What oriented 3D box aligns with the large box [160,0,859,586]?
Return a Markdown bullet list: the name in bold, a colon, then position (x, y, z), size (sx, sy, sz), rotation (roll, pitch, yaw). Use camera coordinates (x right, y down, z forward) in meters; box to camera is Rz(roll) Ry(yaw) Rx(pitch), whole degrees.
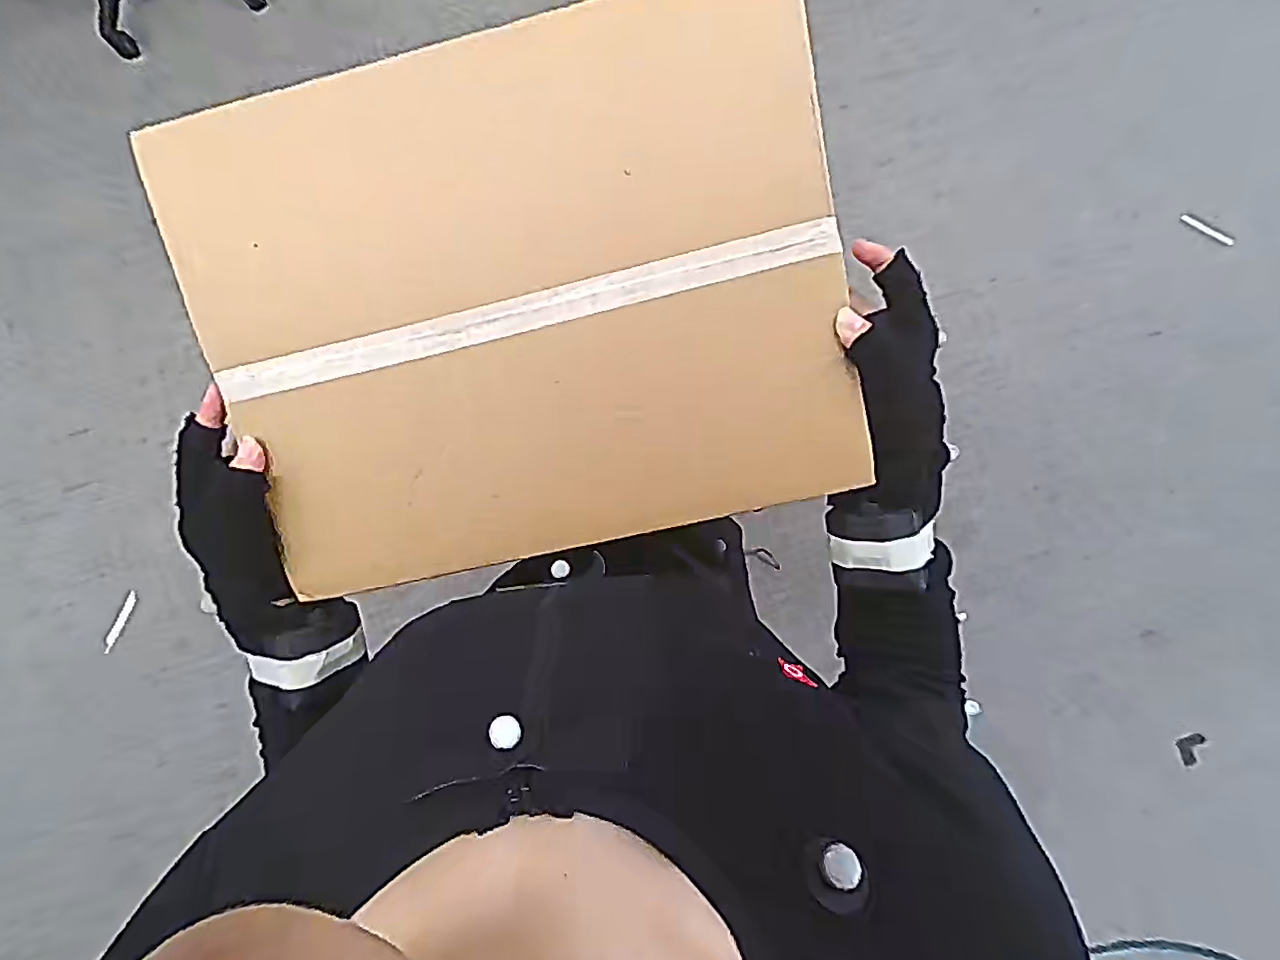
- **large box**: position (-0.071, -0.141, 0.497), size (0.408, 0.320, 0.320), rotation (-12, 100, 5)
